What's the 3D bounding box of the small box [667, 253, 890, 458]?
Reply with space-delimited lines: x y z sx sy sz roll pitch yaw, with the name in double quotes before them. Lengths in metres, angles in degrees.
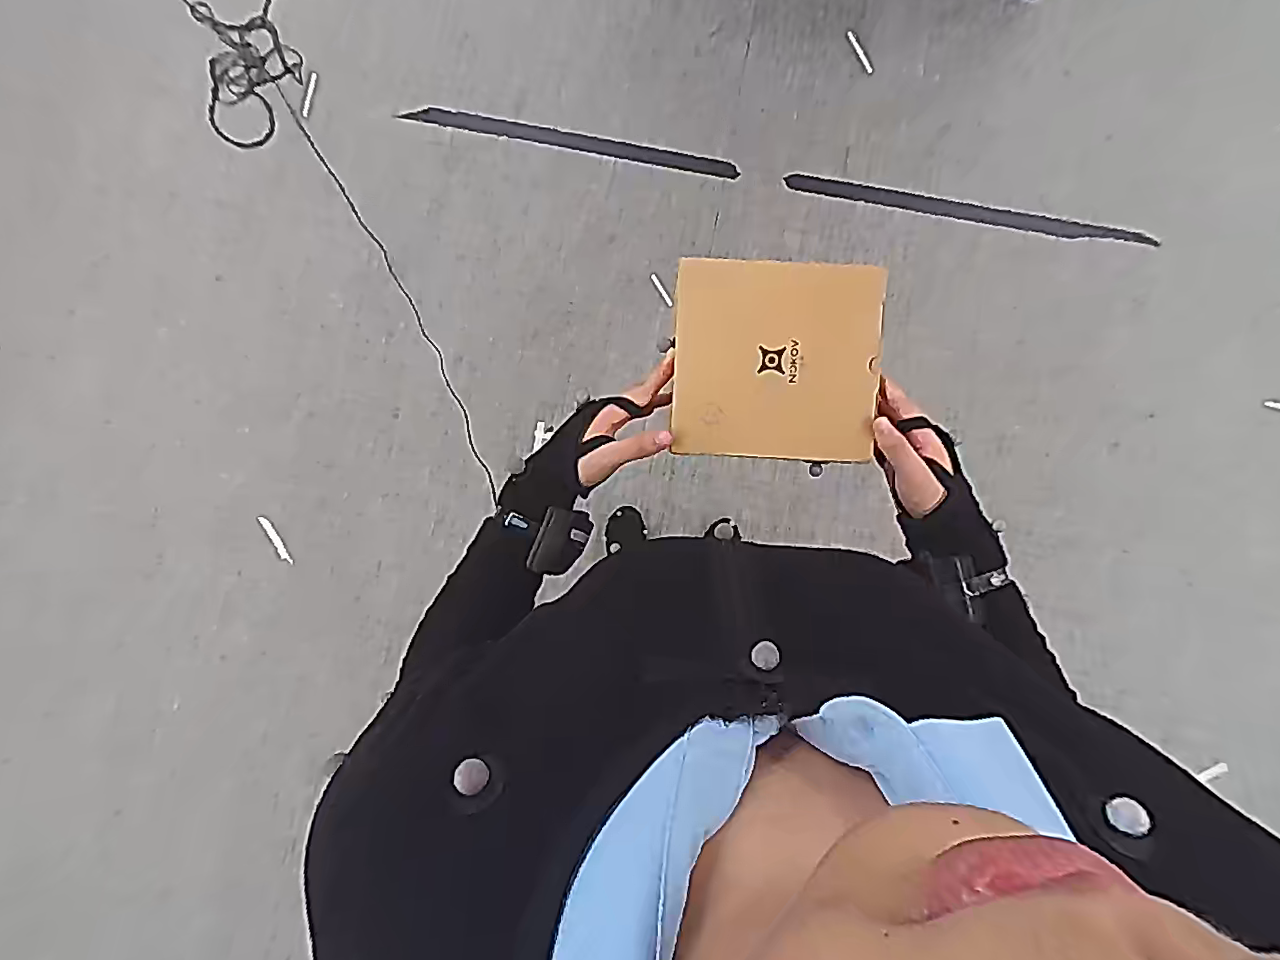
"small box" 0.117 -0.108 0.530 0.179 0.176 0.168 3 94 1
